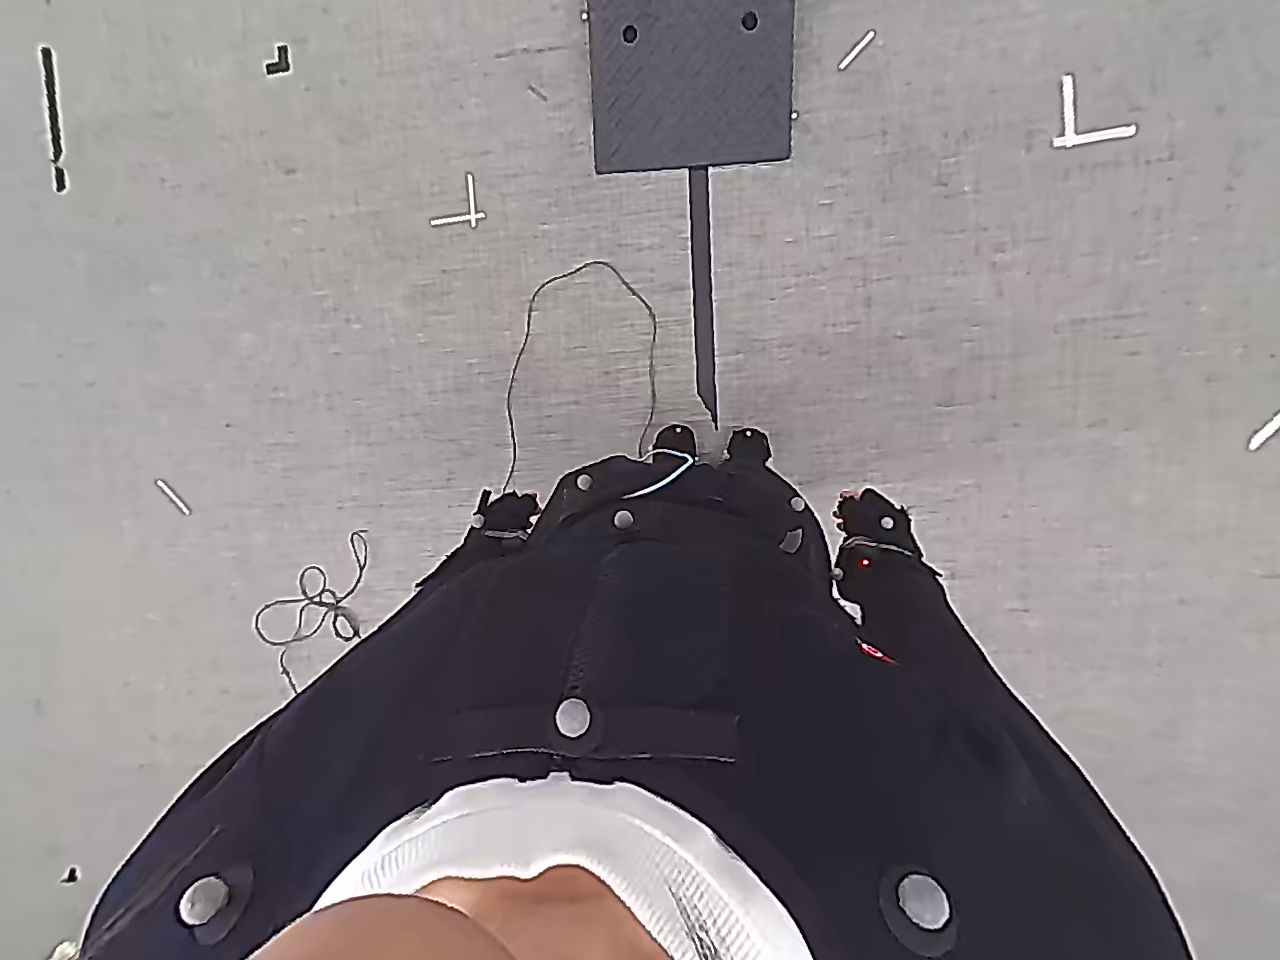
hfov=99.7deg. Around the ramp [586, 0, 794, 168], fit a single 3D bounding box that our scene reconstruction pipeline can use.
[{"bbox_3d":[0.108,-1.284,1.231,0.509,0.206,0.991,-2,95,6],"label":"ramp"}]
